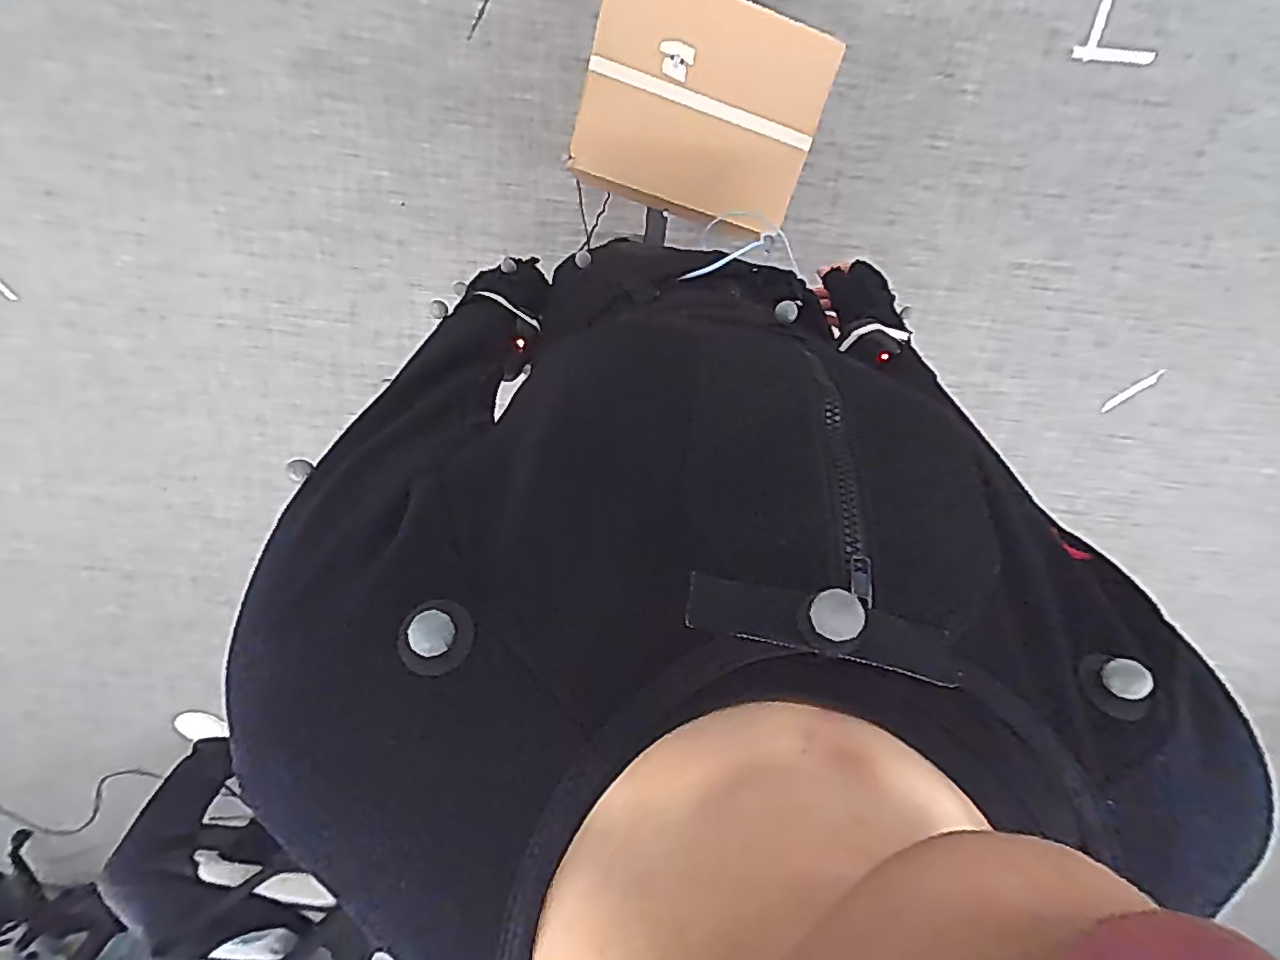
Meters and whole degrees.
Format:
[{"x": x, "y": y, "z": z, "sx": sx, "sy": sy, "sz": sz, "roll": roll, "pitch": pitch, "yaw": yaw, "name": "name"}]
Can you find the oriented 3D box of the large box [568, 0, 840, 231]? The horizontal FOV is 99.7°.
[{"x": 0.102, "y": -0.711, "z": 1.067, "sx": 0.408, "sy": 0.320, "sz": 0.320, "roll": 16, "pitch": 112, "yaw": -9, "name": "large box"}]
